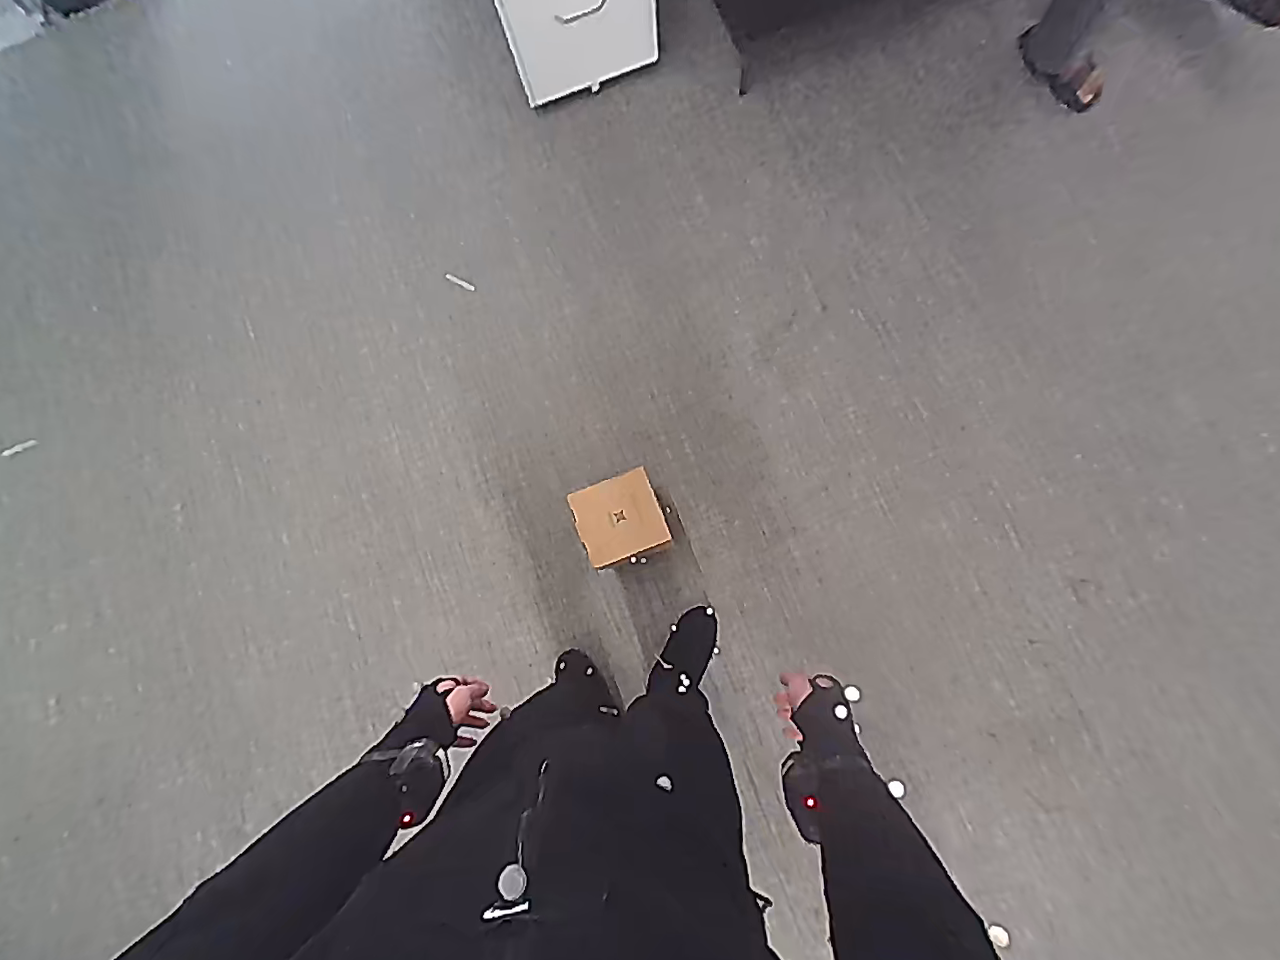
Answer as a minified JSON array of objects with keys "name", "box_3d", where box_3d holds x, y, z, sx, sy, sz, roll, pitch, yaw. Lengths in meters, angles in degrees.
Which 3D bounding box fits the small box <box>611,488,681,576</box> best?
[{"name":"small box","box_3d":[-0.007,0.132,1.352,0.179,0.176,0.168,-21,78,1]}]

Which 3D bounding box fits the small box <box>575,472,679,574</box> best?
[{"name":"small box","box_3d":[-0.022,0.103,1.194,0.179,0.176,0.168,-23,79,0]}]
